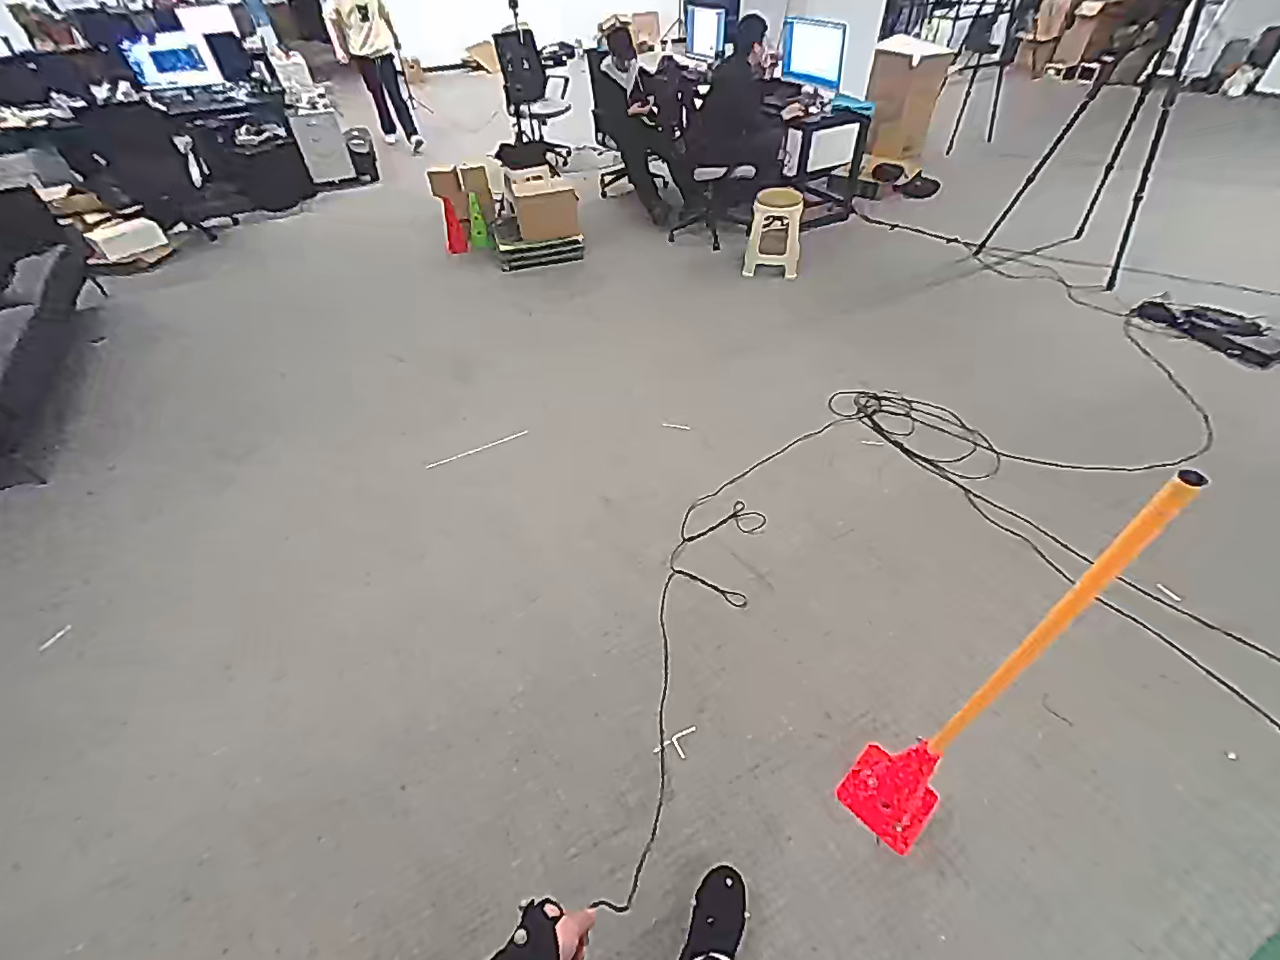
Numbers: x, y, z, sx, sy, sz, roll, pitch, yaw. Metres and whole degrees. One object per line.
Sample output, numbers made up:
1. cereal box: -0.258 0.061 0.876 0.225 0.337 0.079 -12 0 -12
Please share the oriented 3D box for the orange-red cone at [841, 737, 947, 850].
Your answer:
1. orange-red cone: 0.650 0.697 1.295 0.199 0.360 0.198 -33 53 -28
